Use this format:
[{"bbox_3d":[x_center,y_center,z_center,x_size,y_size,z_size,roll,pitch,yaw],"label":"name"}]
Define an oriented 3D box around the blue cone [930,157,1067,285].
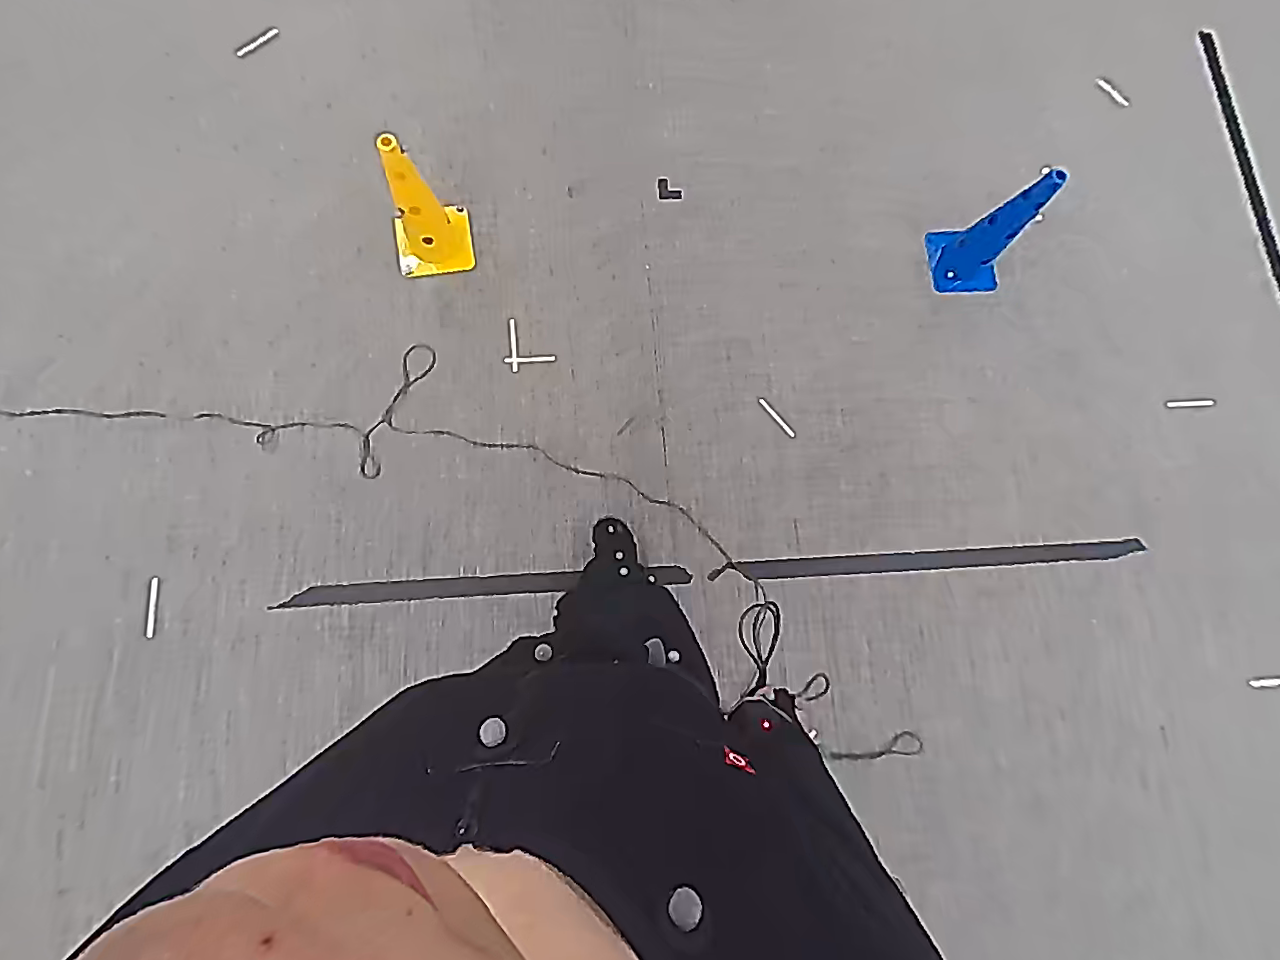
[{"bbox_3d":[0.979,-0.700,1.452,0.193,0.380,0.192,-2,79,-5],"label":"blue cone"}]
